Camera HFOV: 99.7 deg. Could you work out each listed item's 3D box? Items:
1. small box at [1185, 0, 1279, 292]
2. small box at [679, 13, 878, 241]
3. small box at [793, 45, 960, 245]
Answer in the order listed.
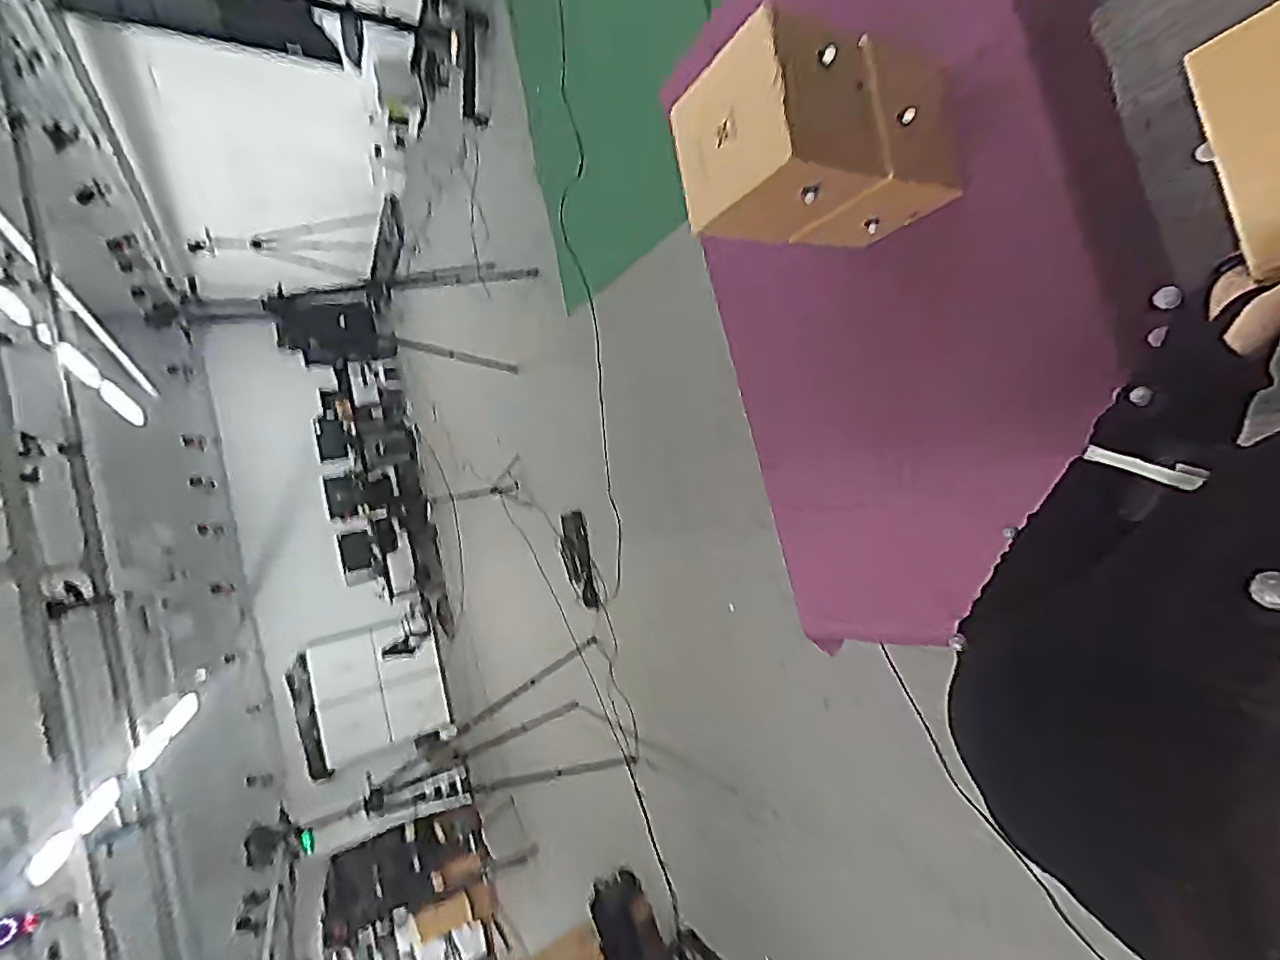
[{"bbox_3d":[0.469,-0.234,0.311,0.179,0.176,0.168,-13,104,56],"label":"small box"},{"bbox_3d":[0.177,-0.423,0.684,0.179,0.176,0.168,-8,92,59],"label":"small box"},{"bbox_3d":[0.318,-0.450,0.761,0.168,0.176,0.179,-10,91,58],"label":"small box"}]
